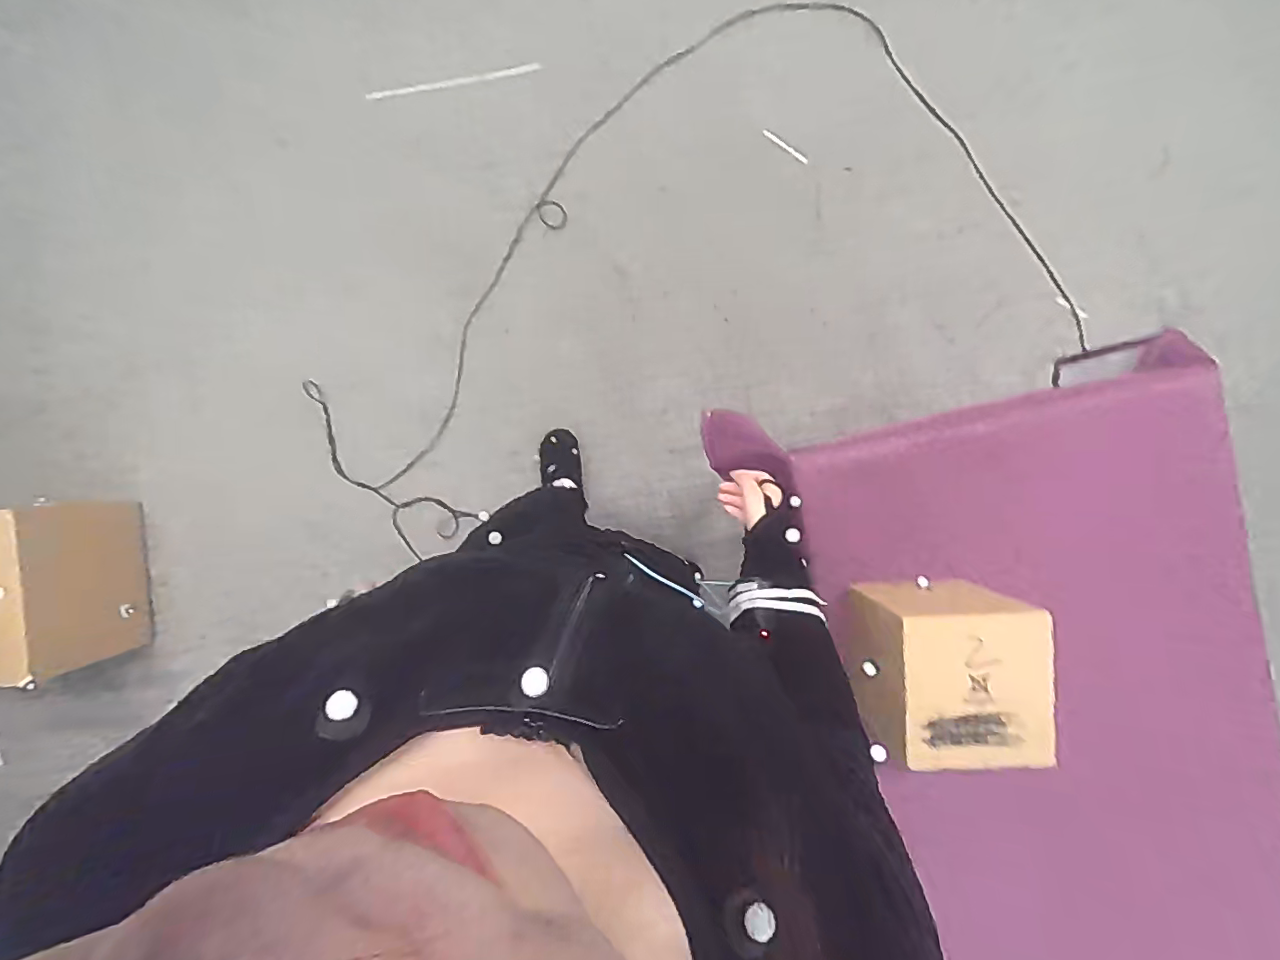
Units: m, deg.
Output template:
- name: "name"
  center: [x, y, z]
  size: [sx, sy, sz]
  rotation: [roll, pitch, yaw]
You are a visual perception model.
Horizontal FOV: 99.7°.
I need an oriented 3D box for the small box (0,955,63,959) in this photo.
- name: "small box"
  center: [-1.406, 1.181, 1.172]
  size: [0.179, 0.176, 0.168]
  rotation: [-7, 92, 2]
